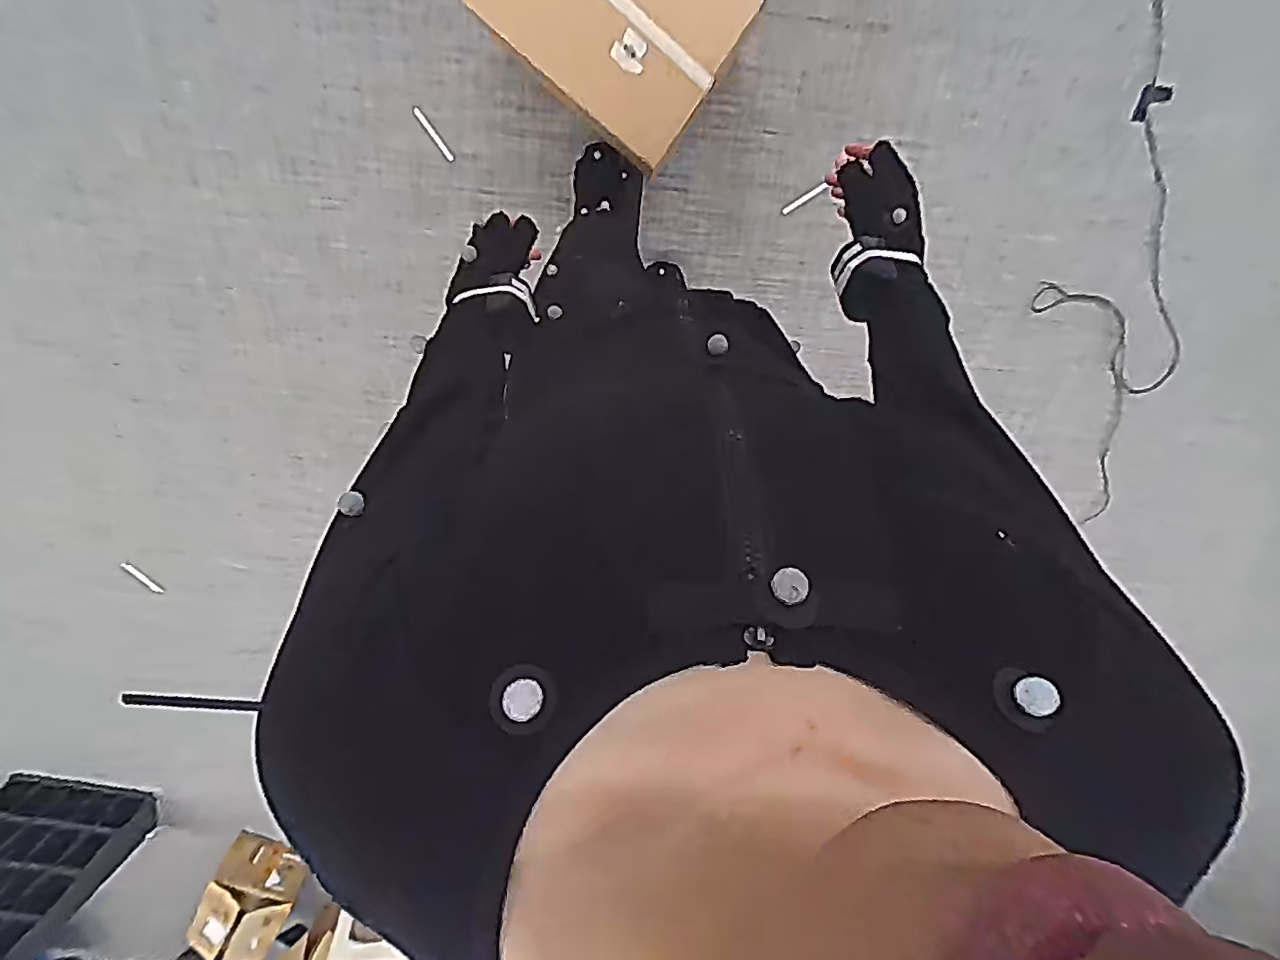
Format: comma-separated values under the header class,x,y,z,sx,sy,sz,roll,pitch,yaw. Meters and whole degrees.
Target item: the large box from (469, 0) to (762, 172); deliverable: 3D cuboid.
class,x,y,z,sx,sy,sz,roll,pitch,yaw
large box,-0.040,-0.860,1.013,0.408,0.320,0.320,32,111,-15
